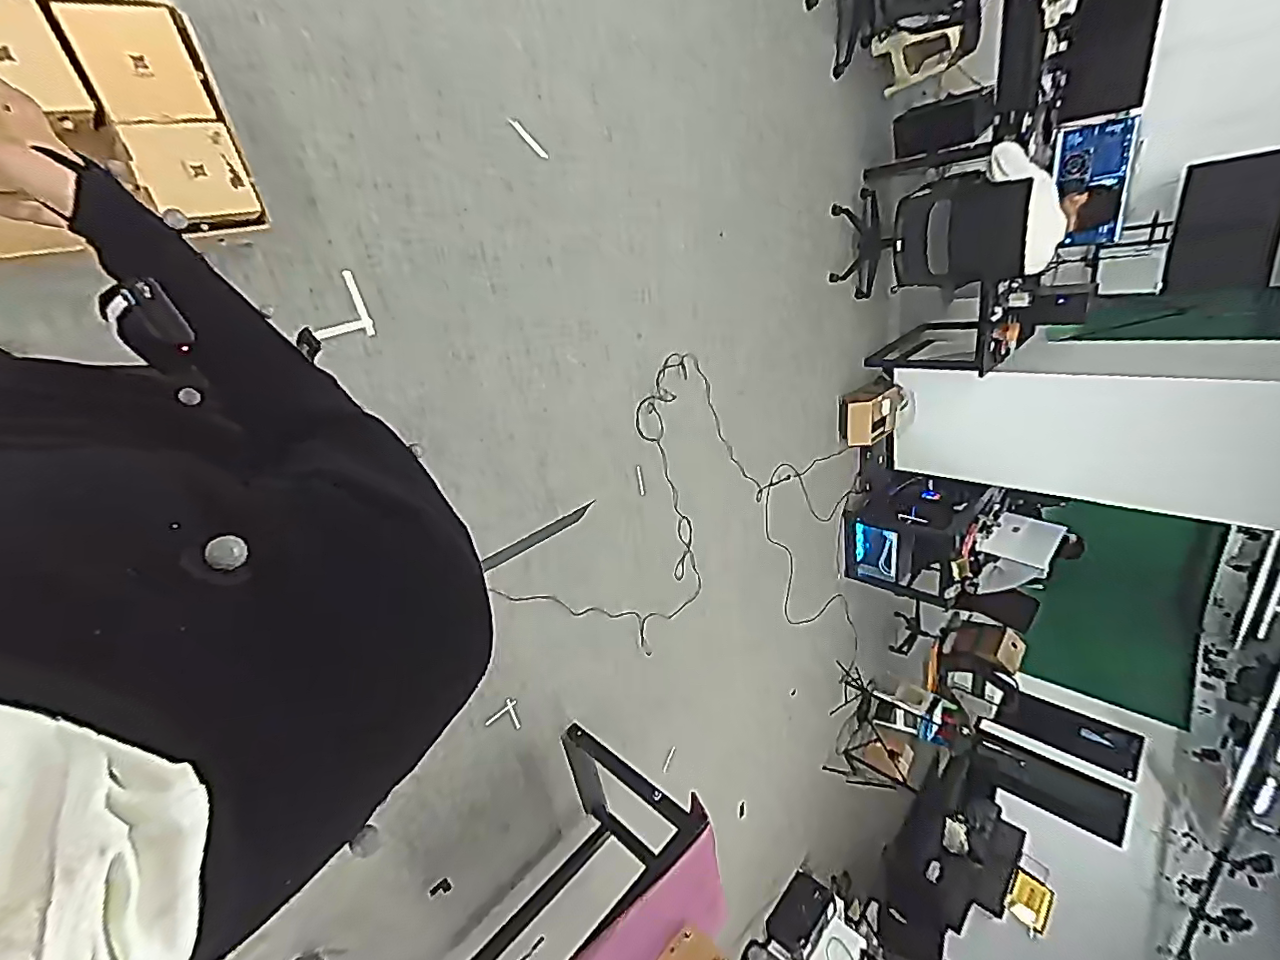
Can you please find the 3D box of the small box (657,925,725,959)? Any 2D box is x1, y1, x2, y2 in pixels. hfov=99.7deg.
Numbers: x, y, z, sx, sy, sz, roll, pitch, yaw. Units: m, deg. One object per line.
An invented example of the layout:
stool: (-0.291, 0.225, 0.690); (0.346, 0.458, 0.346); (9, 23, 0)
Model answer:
small box: (0.170, 1.649, 1.806); (0.168, 0.176, 0.179); (-22, 115, -40)
